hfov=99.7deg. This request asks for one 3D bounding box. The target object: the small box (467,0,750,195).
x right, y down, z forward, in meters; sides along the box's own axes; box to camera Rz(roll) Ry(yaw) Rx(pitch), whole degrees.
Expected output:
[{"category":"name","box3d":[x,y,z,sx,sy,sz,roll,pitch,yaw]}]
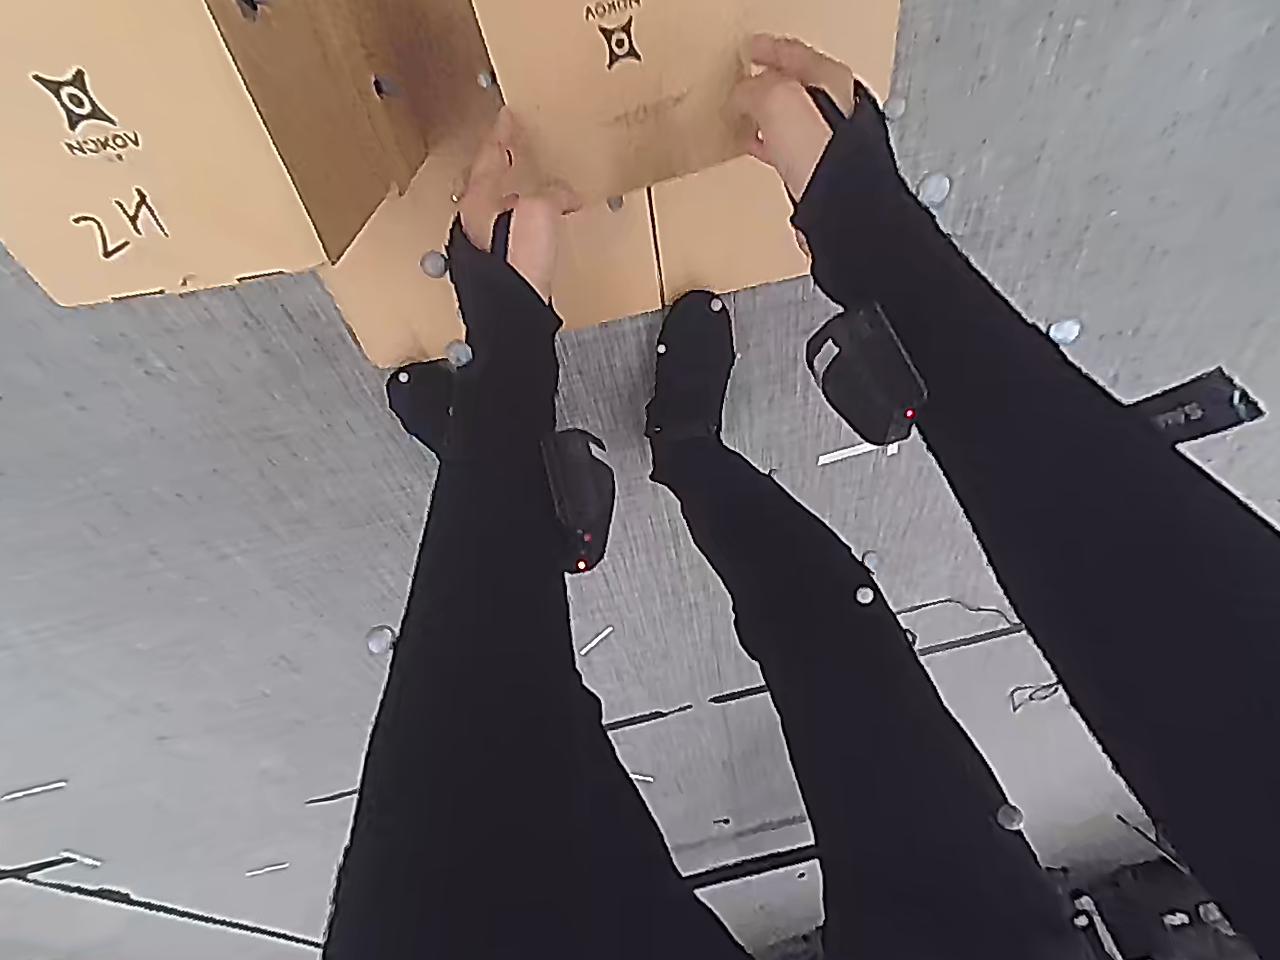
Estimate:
[{"category":"small box","box3d":[-0.034,-0.331,0.402,0.168,0.176,0.179,-17,122,1]}]

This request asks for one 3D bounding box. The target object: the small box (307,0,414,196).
[{"category":"small box","box3d":[-0.307,-0.344,0.448,0.168,0.176,0.179,-11,133,-2]}]

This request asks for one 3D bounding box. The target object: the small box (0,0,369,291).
[{"category":"small box","box3d":[-0.290,-0.239,0.321,0.168,0.176,0.179,-10,133,-2]}]
